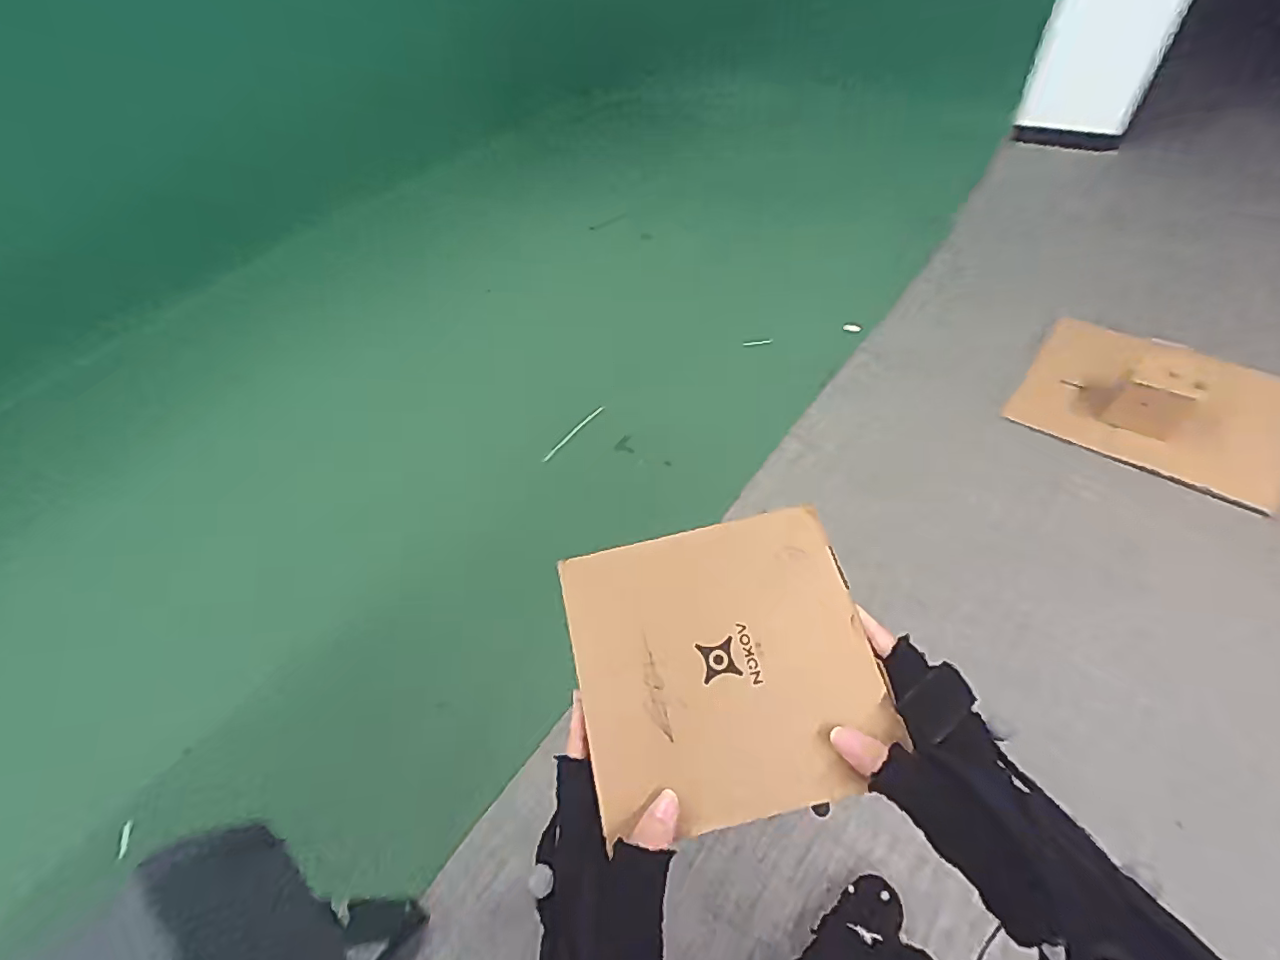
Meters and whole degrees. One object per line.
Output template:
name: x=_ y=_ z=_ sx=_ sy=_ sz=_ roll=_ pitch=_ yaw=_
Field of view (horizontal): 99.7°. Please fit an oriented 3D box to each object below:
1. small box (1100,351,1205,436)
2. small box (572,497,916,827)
small box: x=1.549 y=-0.259 z=1.643 sx=0.179 sy=0.176 sz=0.168 roll=25 pitch=59 yaw=28
small box: x=0.059 y=0.135 z=0.401 sx=0.179 sy=0.176 sz=0.168 roll=-13 pitch=62 yaw=-2
